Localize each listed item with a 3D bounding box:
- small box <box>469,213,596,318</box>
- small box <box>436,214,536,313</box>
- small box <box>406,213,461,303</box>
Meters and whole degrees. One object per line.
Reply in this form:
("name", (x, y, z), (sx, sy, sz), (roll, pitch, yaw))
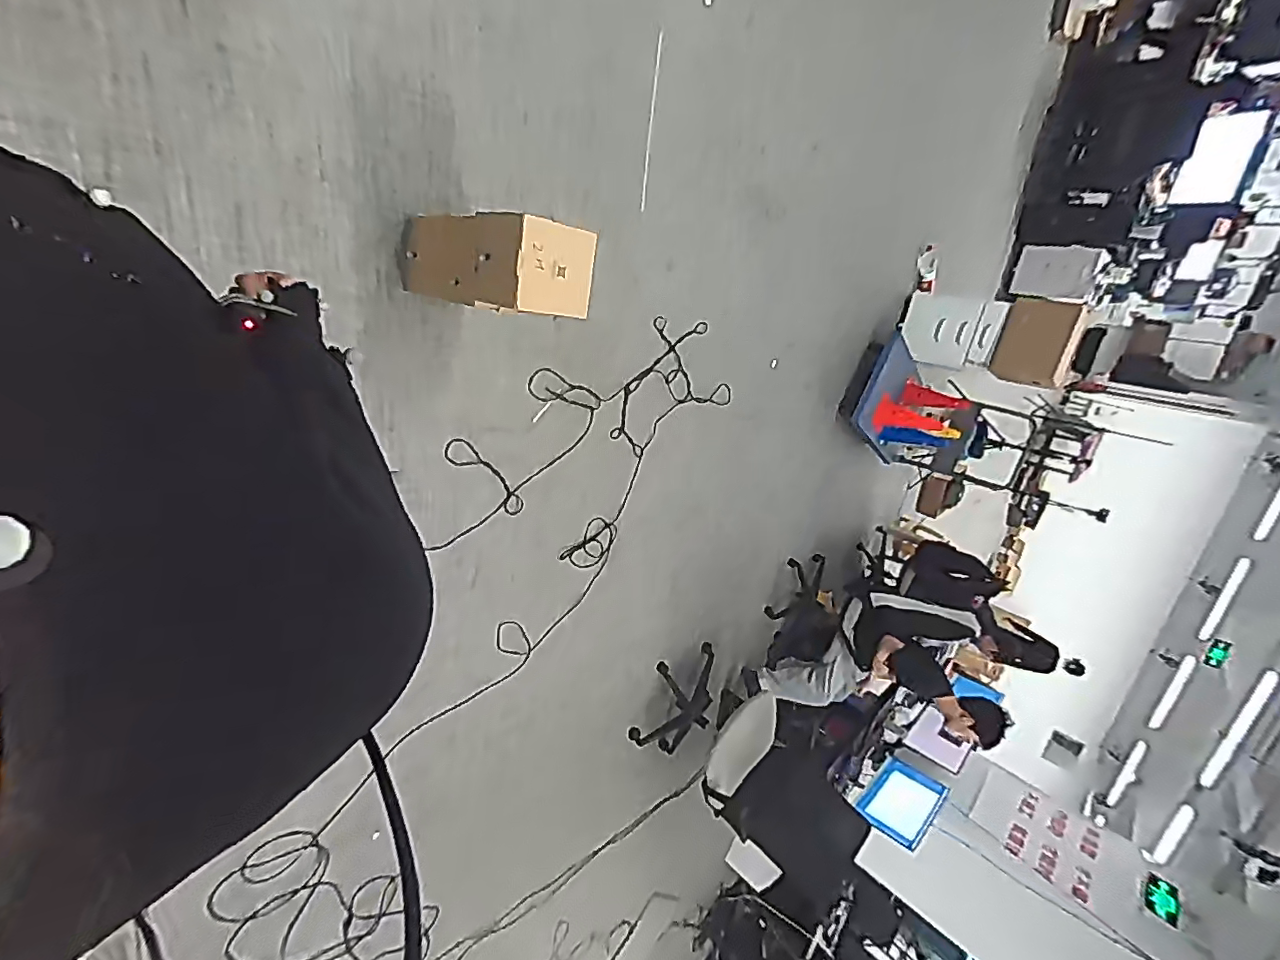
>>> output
("small box", (-0.215, -0.426, 1.077), (0.179, 0.176, 0.168), (-9, 116, -45))
("small box", (-0.331, -0.472, 1.184), (0.168, 0.176, 0.179), (-11, 116, -45))
("small box", (-0.443, -0.523, 1.292), (0.168, 0.176, 0.179), (-8, 116, -46))
